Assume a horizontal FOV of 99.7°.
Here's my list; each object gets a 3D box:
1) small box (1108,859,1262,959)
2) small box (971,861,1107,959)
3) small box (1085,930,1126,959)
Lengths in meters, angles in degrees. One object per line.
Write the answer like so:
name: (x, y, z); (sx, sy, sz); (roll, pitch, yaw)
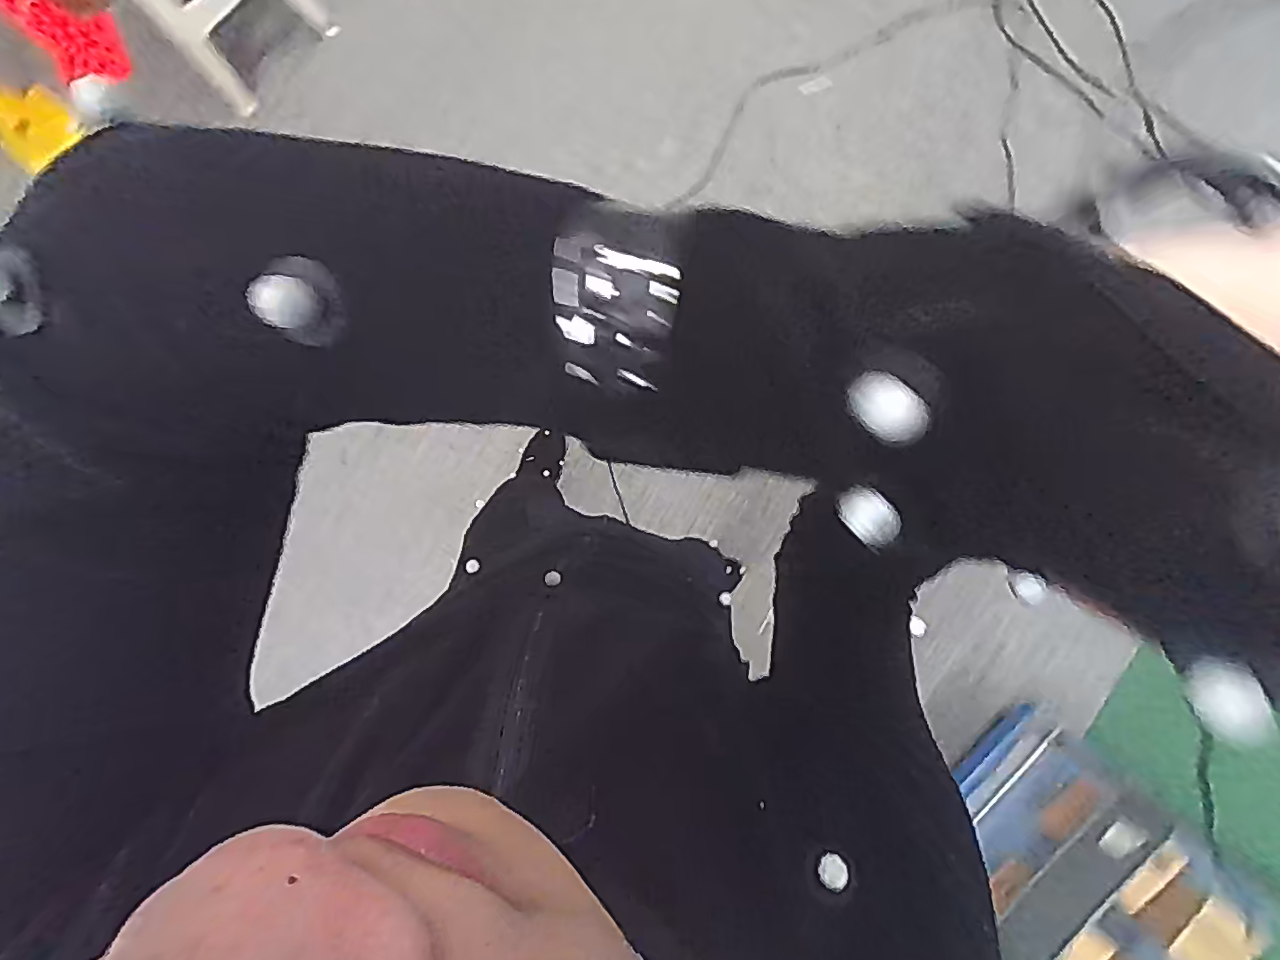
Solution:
small box: (1.348, 1.102, 1.353); (0.179, 0.176, 0.168); (38, 92, 0)
small box: (0.992, 1.121, 1.359); (0.179, 0.176, 0.168); (43, 91, 0)
small box: (1.194, 1.301, 1.359); (0.179, 0.176, 0.168); (38, 91, 1)
